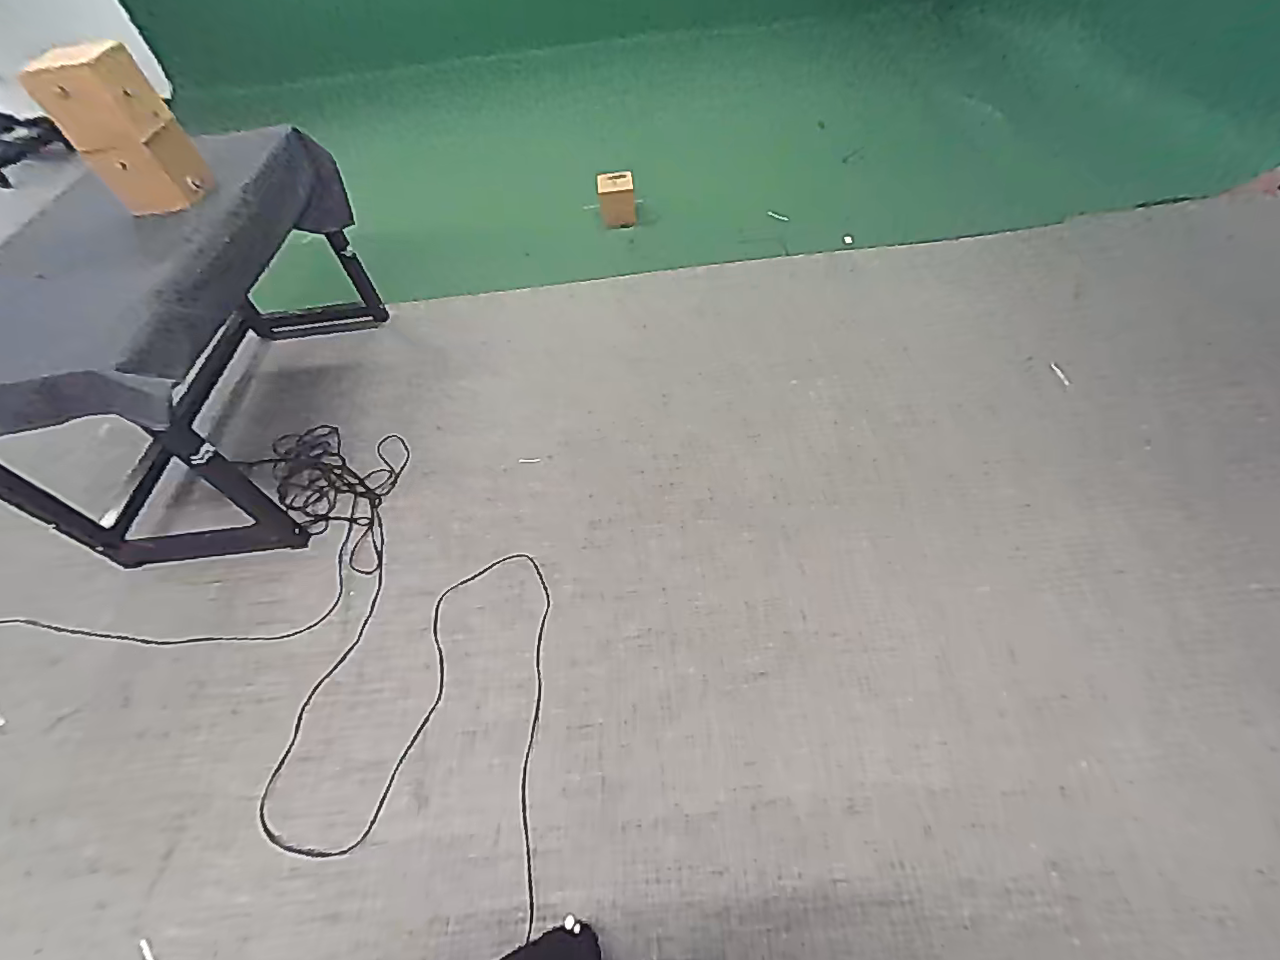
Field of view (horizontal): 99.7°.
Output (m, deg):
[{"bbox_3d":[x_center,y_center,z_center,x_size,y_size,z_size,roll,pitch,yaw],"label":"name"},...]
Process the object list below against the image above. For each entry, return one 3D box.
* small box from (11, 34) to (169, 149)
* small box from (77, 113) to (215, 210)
[{"bbox_3d":[-1.310,-0.935,1.307,0.179,0.176,0.168,-7,54,3],"label":"small box"},{"bbox_3d":[-1.302,-0.842,1.440,0.179,0.176,0.168,-5,54,2],"label":"small box"}]
